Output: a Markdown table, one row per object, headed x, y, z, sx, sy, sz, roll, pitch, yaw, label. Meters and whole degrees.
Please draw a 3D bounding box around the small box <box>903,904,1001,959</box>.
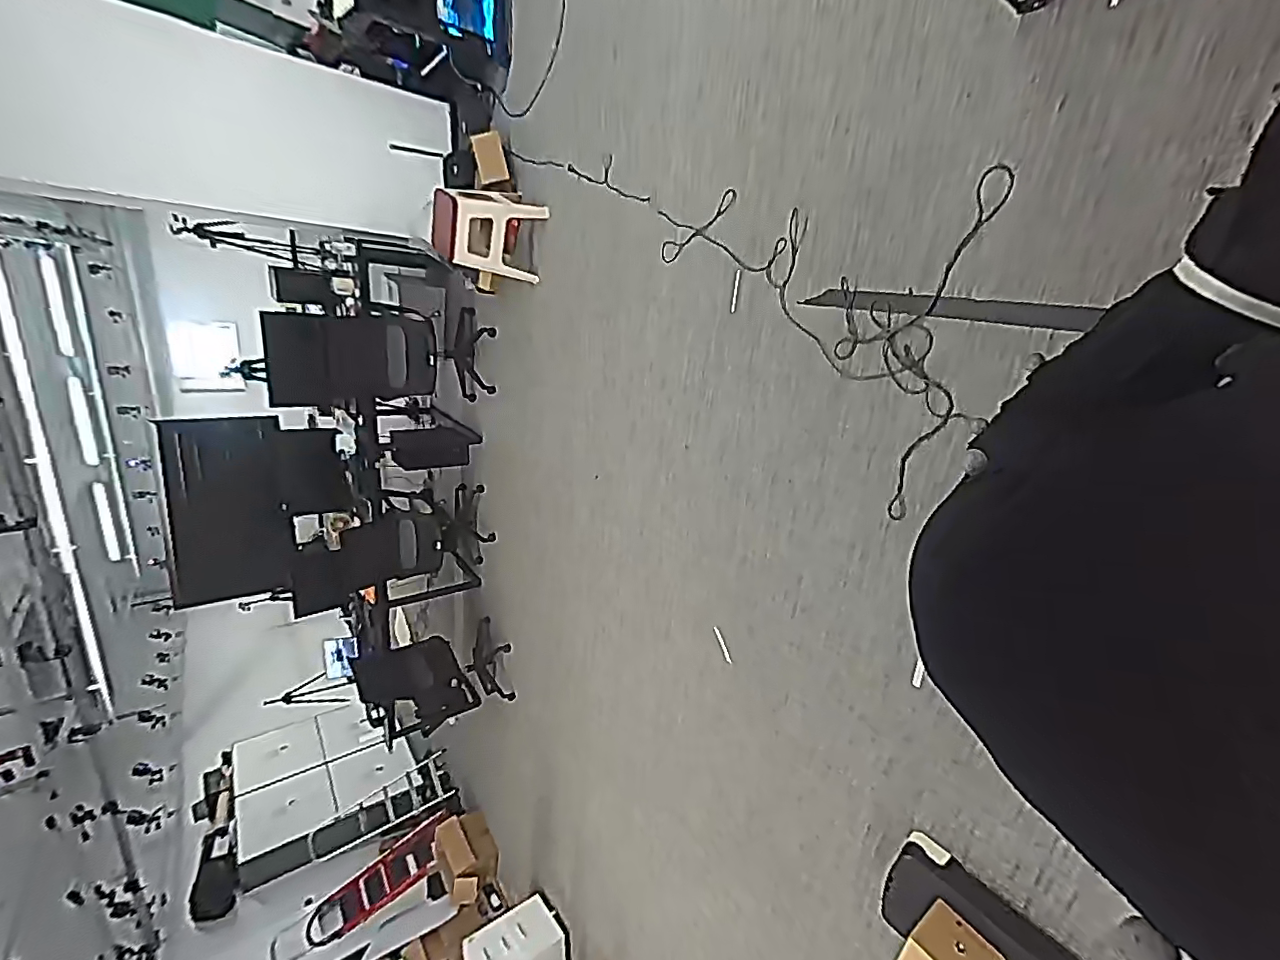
| x | y | z | sx | sy | sz | roll | pitch | yaw | label |
| --- | --- | --- | --- | --- | --- | --- | --- | --- | --- |
| 0.771 | 1.217 | 1.344 | 0.168 | 0.176 | 0.179 | 32 | 122 | 46 | small box |
